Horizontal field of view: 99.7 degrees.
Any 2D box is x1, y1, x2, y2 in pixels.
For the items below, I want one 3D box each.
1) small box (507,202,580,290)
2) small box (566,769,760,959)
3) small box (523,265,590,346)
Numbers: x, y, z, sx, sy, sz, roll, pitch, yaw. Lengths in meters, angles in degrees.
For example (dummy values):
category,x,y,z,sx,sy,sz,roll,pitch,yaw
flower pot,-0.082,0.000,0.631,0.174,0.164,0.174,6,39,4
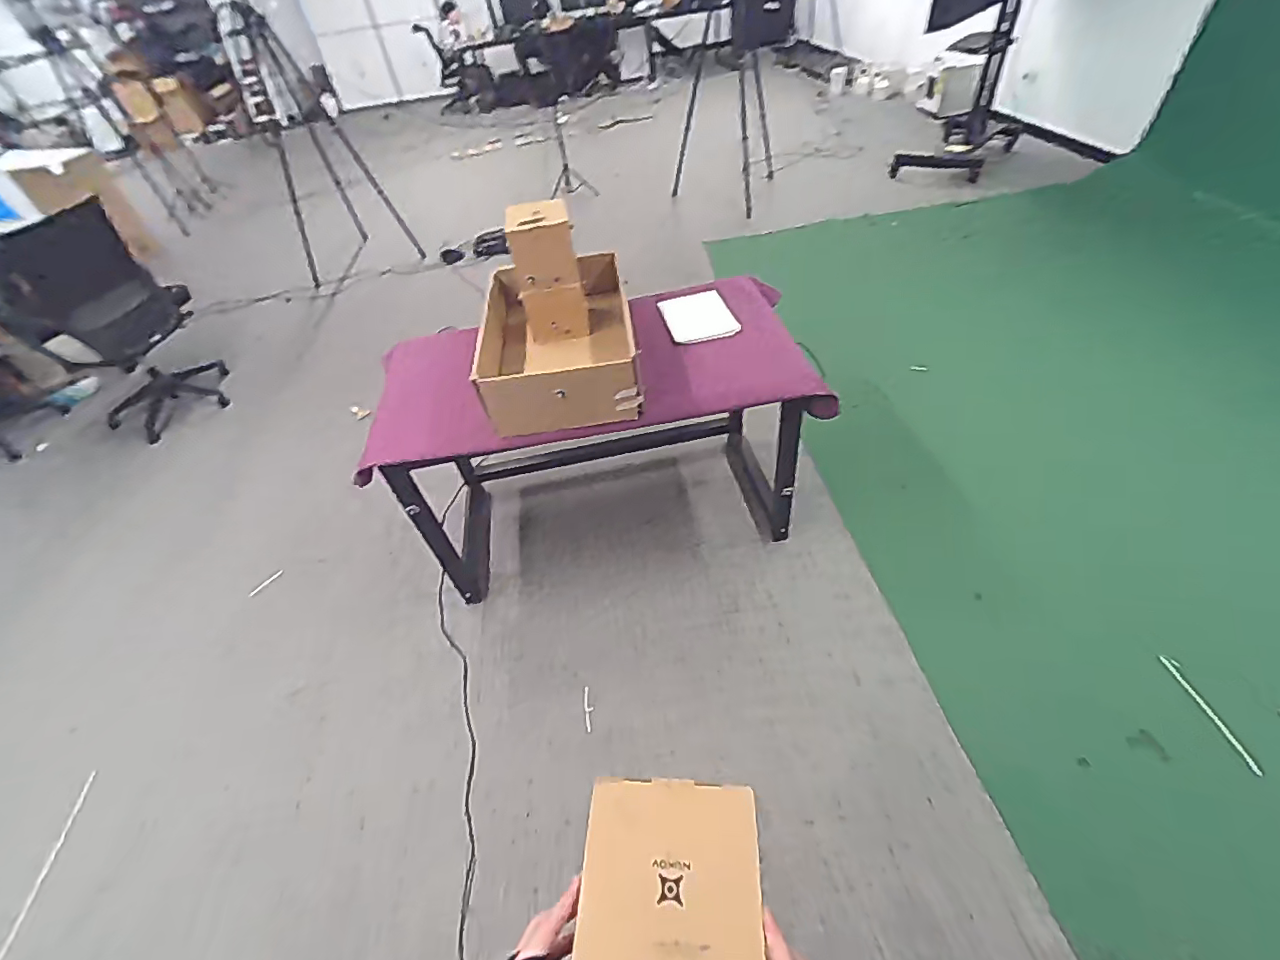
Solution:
category,x,y,z,sx,sy,sz,roll,pitch,yaw
small box,-0.265,-0.643,1.501,0.168,0.176,0.179,-10,46,-3
small box,0.026,0.422,0.549,0.168,0.176,0.179,1,44,5
small box,-0.248,-0.526,1.615,0.168,0.176,0.179,-10,47,-2
